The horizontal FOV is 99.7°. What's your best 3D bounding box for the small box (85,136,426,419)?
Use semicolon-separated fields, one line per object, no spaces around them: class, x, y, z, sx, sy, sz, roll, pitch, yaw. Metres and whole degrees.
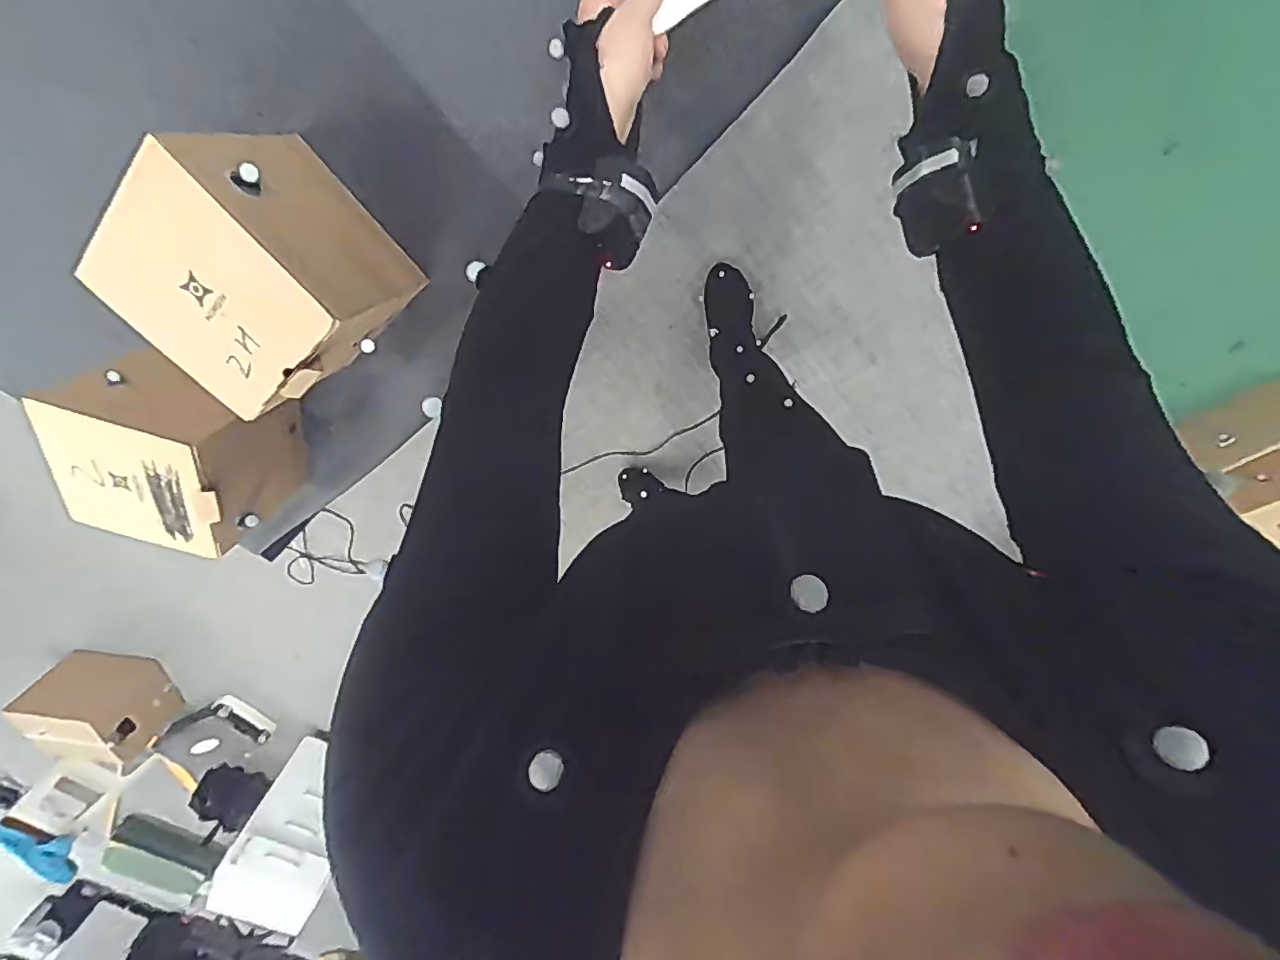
small box;-0.354;-0.198;0.529;0.168;0.176;0.179;-32;113;25

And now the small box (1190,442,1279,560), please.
small box;1.446;0.044;1.241;0.179;0.176;0.168;-36;113;27
